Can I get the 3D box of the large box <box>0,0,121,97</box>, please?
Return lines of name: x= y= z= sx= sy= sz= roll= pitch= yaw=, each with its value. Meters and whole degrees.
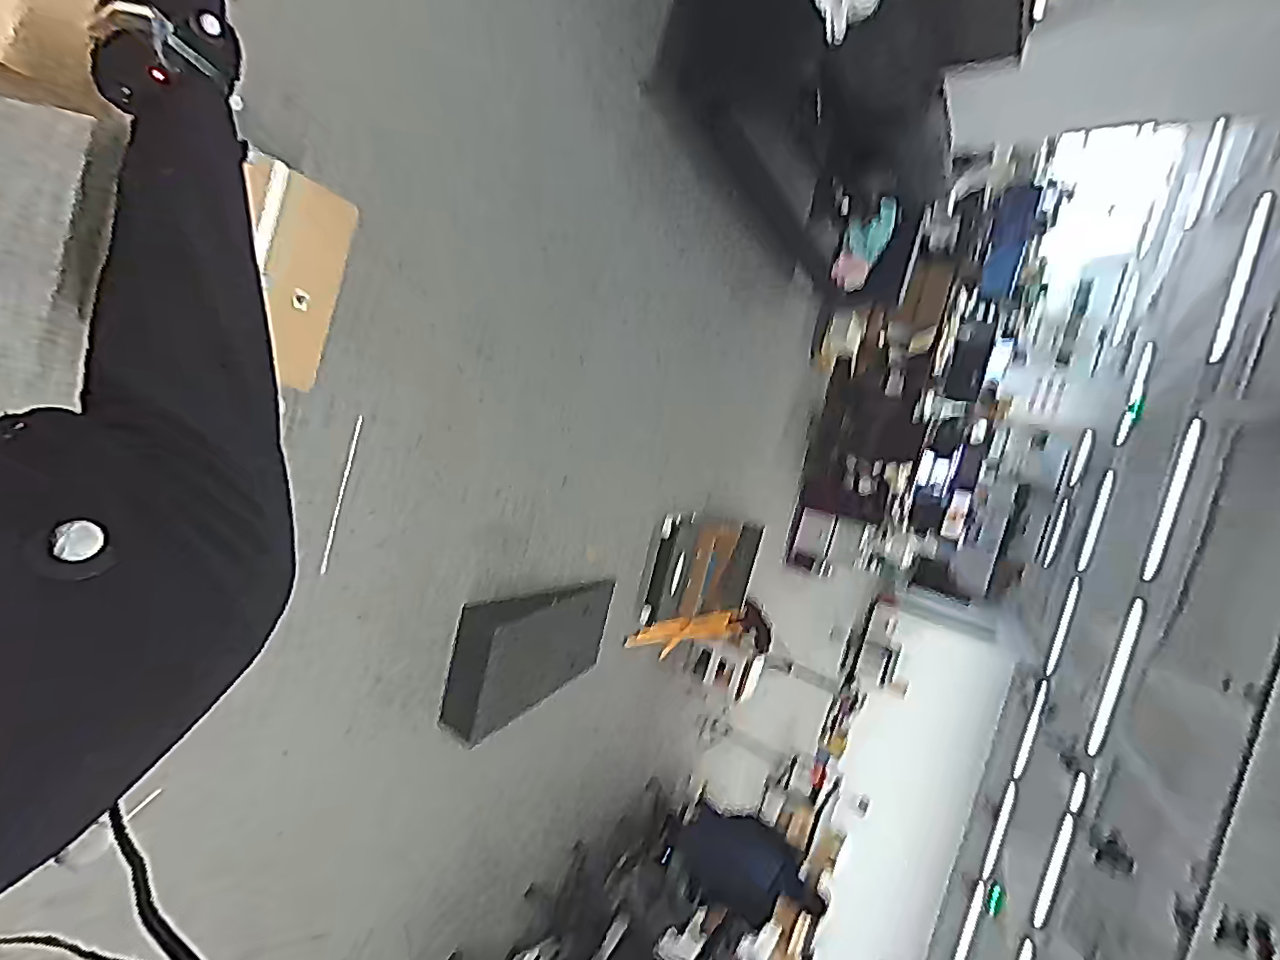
large box: x=-0.622 y=-0.536 z=0.342 sx=0.408 sy=0.320 sz=0.320 roll=12 pitch=101 yaw=-62
